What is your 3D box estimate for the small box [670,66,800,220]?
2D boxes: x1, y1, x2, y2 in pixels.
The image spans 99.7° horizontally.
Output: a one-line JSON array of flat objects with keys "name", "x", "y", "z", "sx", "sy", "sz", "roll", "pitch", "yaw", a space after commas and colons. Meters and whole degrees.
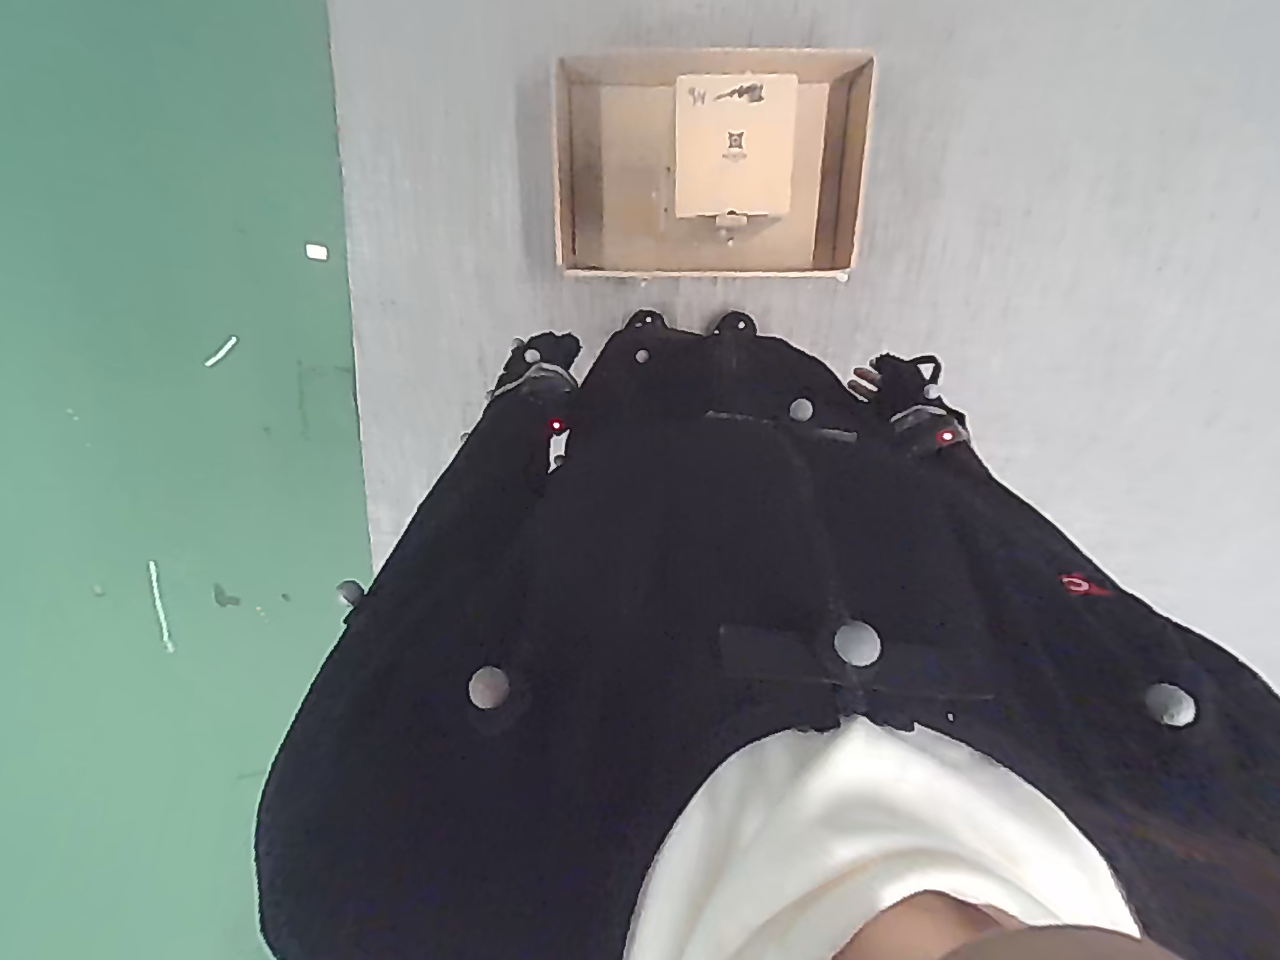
[{"name": "small box", "x": 0.134, "y": -0.499, "z": 0.826, "sx": 0.168, "sy": 0.176, "sz": 0.179, "roll": 0, "pitch": 109, "yaw": 1}]

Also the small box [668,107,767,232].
[{"name": "small box", "x": 0.135, "y": -0.546, "z": 0.966, "sx": 0.168, "sy": 0.176, "sz": 0.179, "roll": -2, "pitch": 109, "yaw": 2}]

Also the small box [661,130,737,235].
[{"name": "small box", "x": 0.135, "y": -0.614, "z": 1.129, "sx": 0.179, "sy": 0.176, "sz": 0.168, "roll": 3, "pitch": 108, "yaw": 3}]
